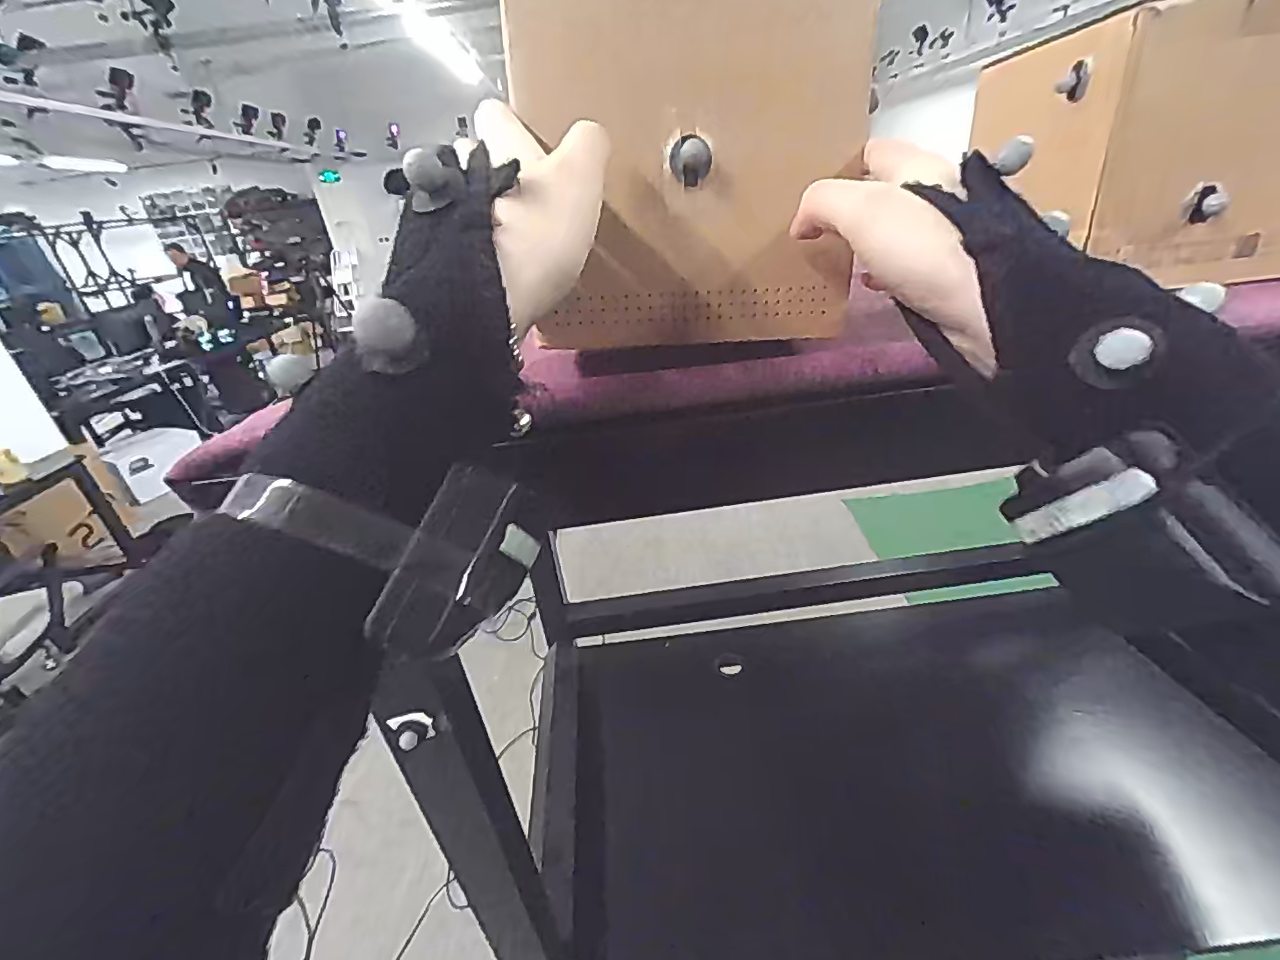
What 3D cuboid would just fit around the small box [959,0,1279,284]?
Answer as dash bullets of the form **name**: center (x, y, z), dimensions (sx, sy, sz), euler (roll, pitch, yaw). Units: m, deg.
- **small box**: center (0.369, -0.248, 0.403), dimensions (0.168, 0.176, 0.179), euler (-6, 28, 4)
